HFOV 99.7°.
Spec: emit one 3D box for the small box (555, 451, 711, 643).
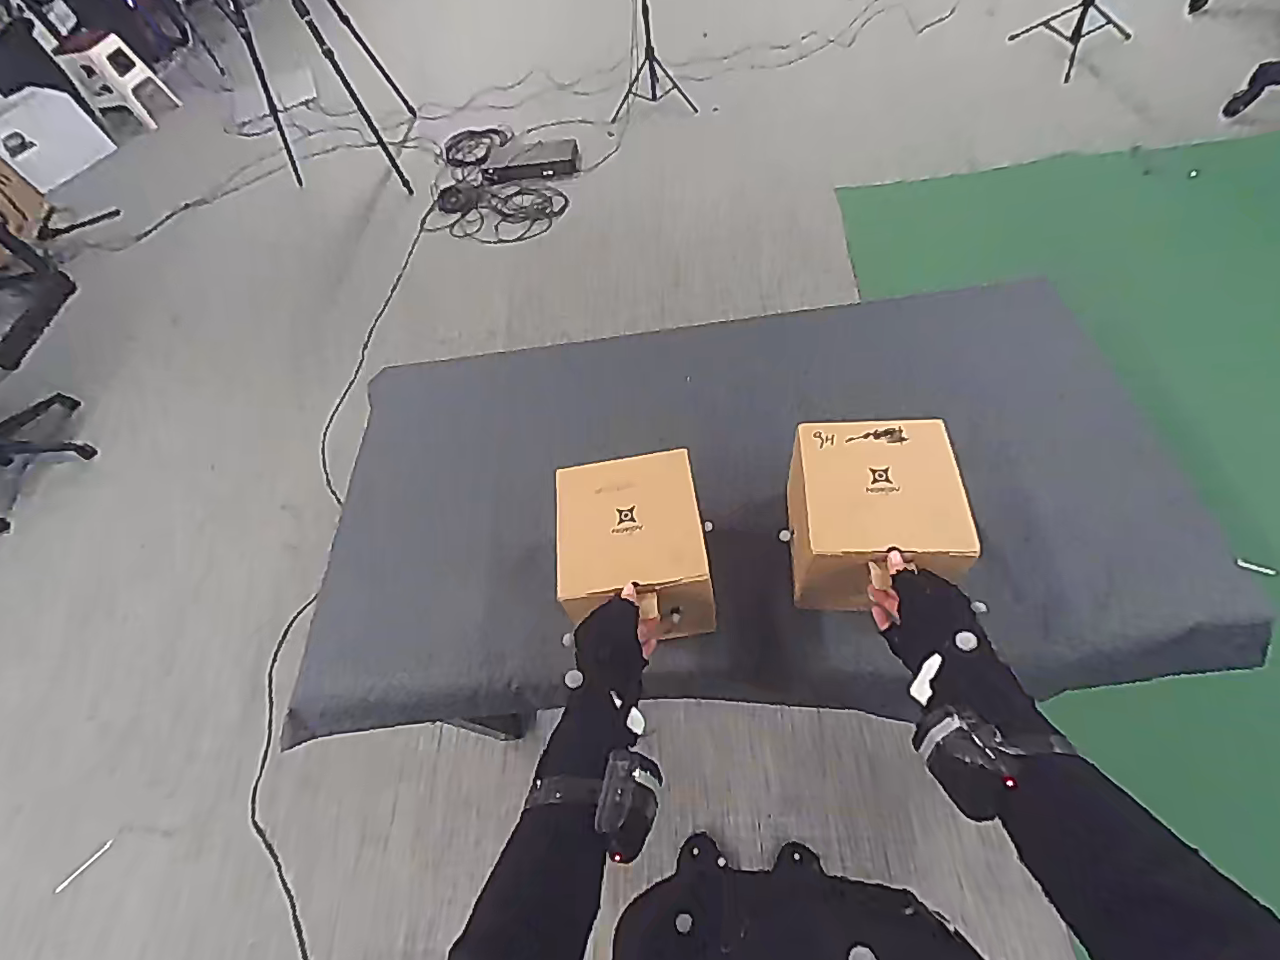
[{"bbox_3d":[-0.006,0.092,0.678,0.168,0.176,0.179,-9,53,2],"label":"small box"}]
